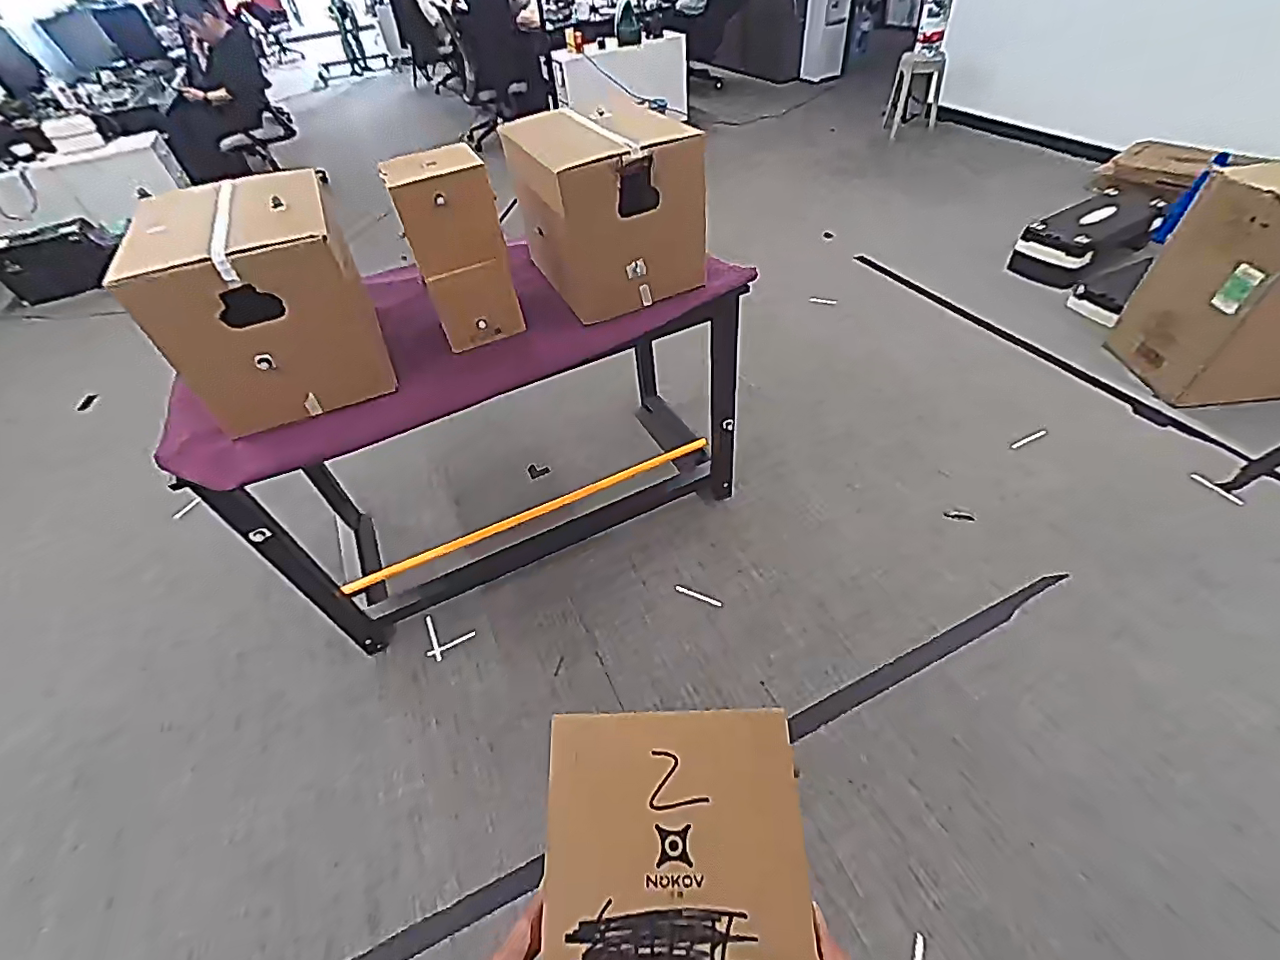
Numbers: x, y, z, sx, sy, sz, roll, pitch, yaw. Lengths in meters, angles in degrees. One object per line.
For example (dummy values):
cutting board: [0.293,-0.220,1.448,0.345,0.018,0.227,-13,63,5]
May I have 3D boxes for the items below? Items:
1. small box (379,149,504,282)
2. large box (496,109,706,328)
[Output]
small box: [-0.380,-0.517,1.059,0.179,0.176,0.168,-23,48,-12]
large box: [-0.084,-0.603,1.232,0.320,0.320,0.408,-23,47,-14]
